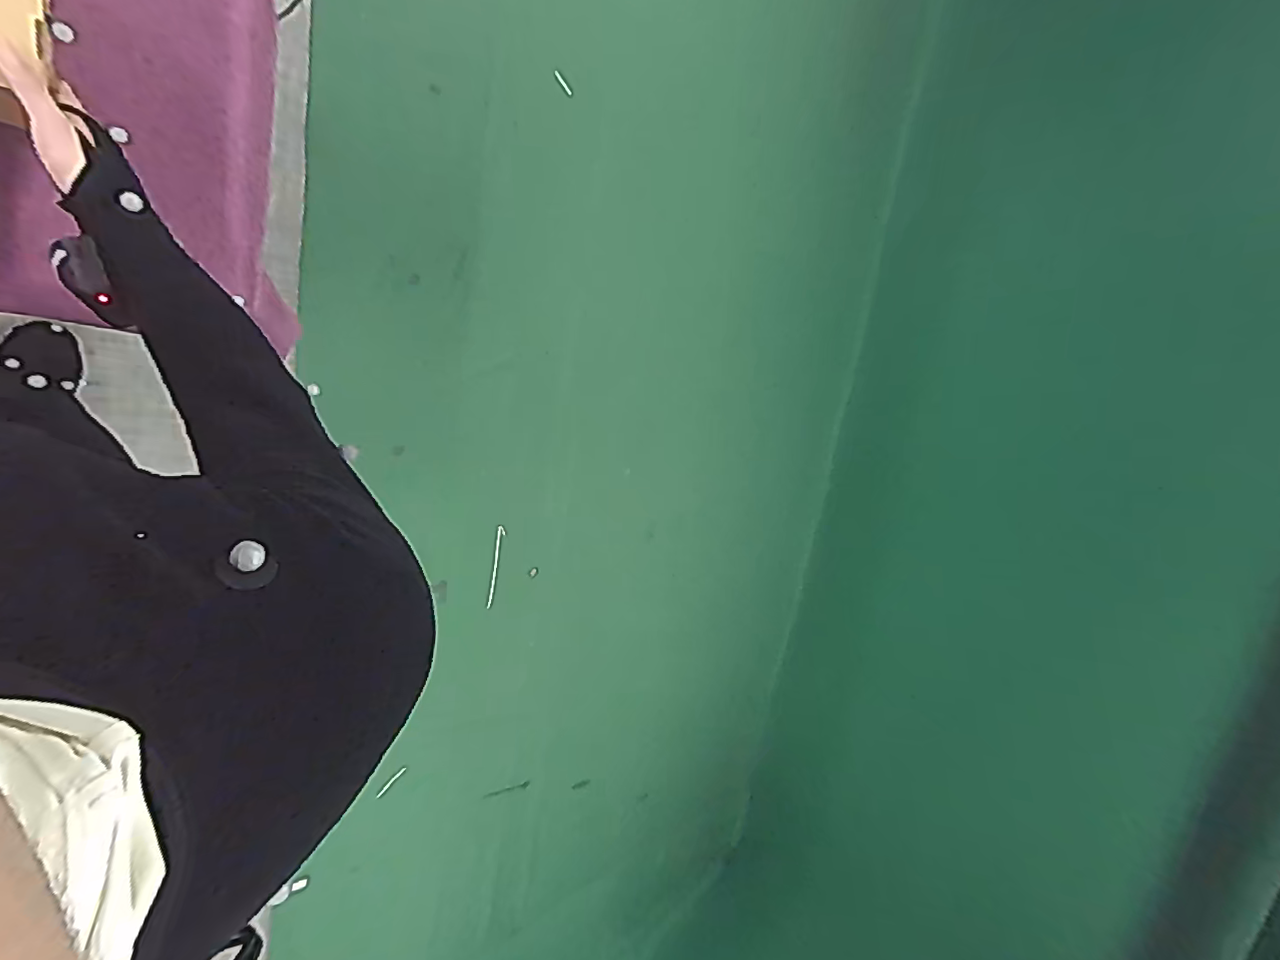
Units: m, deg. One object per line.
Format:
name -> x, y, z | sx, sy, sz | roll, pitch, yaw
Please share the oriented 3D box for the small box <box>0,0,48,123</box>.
small box -> -0.604, -0.413, 0.429 | 0.179, 0.176, 0.168 | -3, 107, -46
